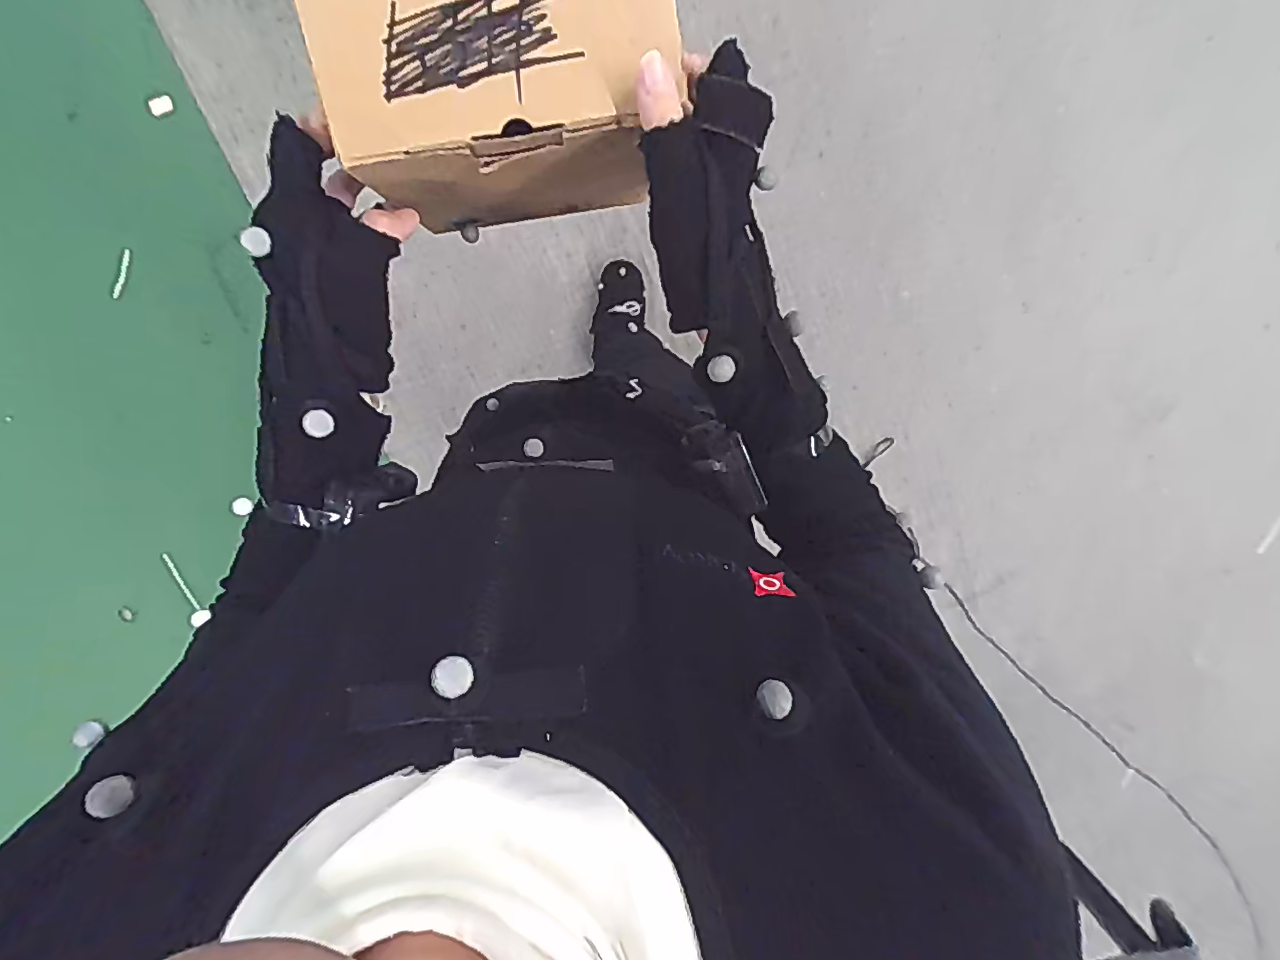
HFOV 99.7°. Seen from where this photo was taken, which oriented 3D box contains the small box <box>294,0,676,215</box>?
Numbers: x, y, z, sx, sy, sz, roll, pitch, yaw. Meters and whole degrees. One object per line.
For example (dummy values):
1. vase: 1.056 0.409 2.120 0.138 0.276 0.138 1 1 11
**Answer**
1. small box: -0.080 -0.266 0.309 0.168 0.176 0.179 -11 105 -2
